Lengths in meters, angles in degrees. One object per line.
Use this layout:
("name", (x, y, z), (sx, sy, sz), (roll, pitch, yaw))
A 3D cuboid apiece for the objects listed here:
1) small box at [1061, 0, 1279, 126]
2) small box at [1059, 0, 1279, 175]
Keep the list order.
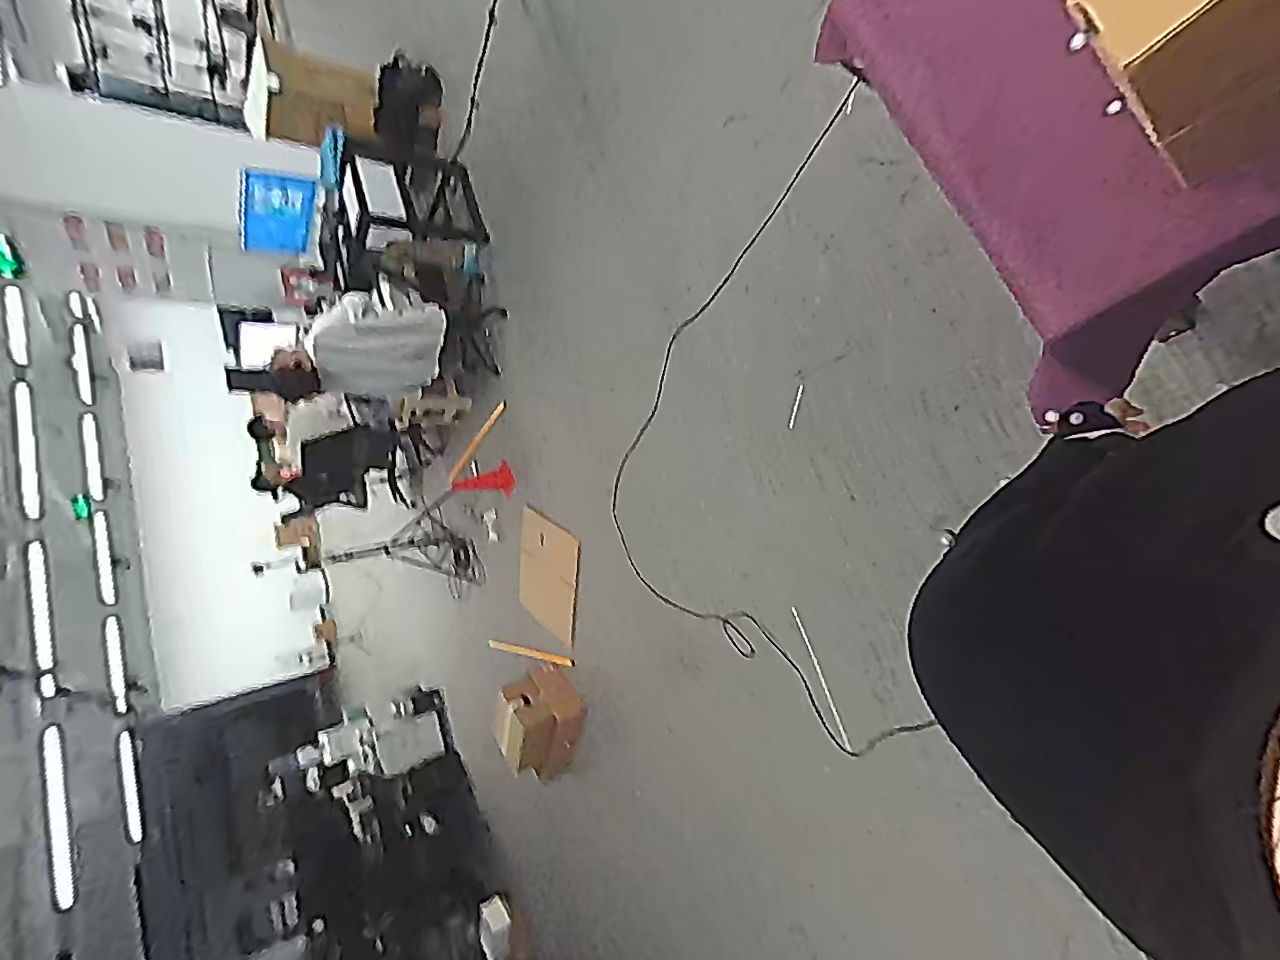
("small box", (0.389, -0.383, 0.353), (0.179, 0.176, 0.168), (-34, 70, 50))
("small box", (0.512, -0.400, 0.458), (0.179, 0.176, 0.168), (-32, 72, 48))
